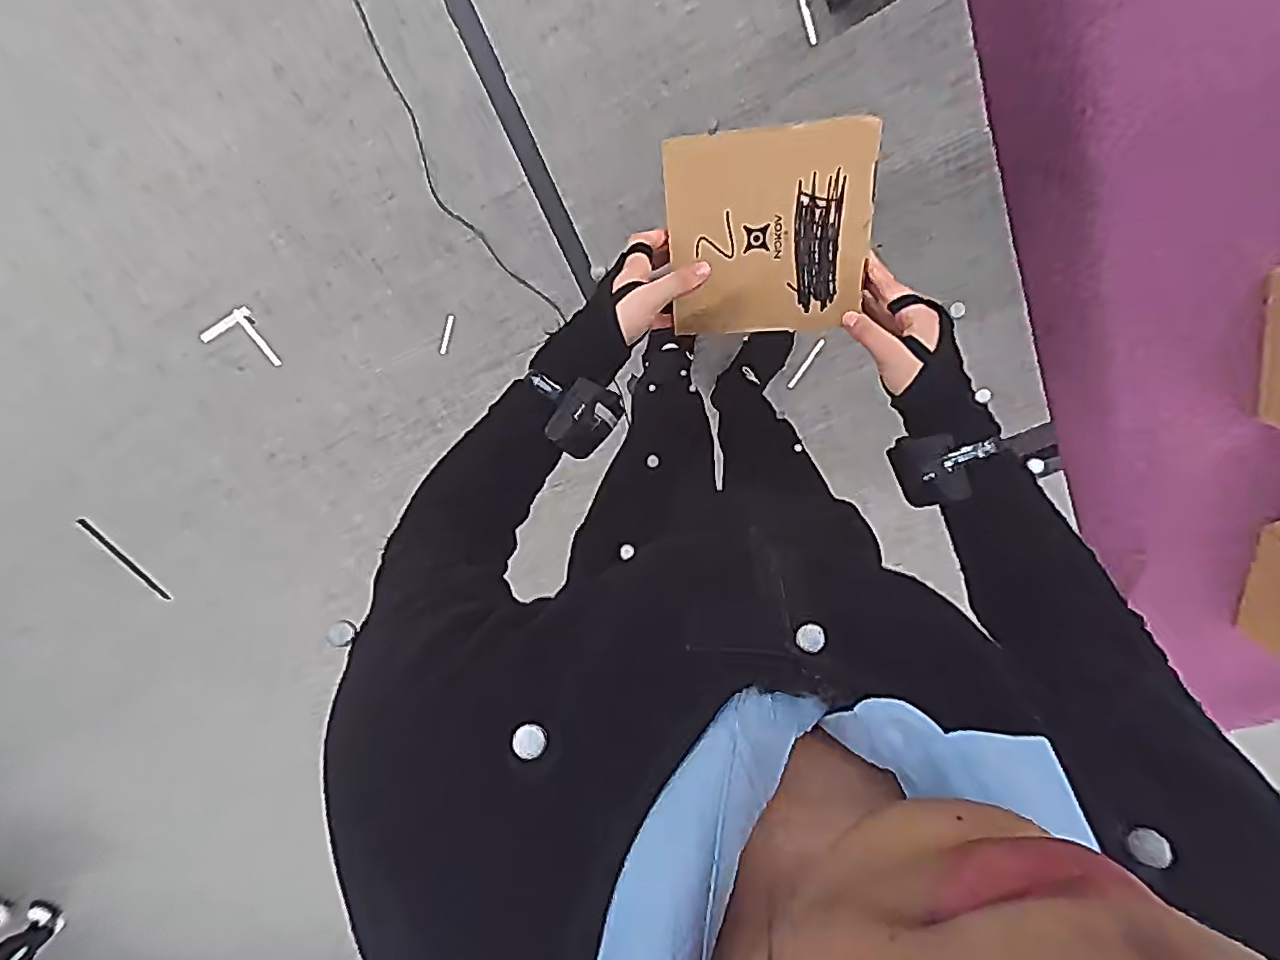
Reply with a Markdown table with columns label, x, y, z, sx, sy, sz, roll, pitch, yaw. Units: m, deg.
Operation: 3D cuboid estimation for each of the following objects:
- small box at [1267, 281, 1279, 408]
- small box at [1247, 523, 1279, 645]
| label | x | y | z | sx | sy | sz | roll | pitch | yaw |
| --- | --- | --- | --- | --- | --- | --- | --- | --- | --- |
| small box | 0.730 | -0.128 | 0.477 | 0.168 | 0.176 | 0.179 | -20 | 115 | 13 |
| small box | 0.866 | 0.142 | 0.613 | 0.168 | 0.176 | 0.179 | -13 | 117 | 11 |
